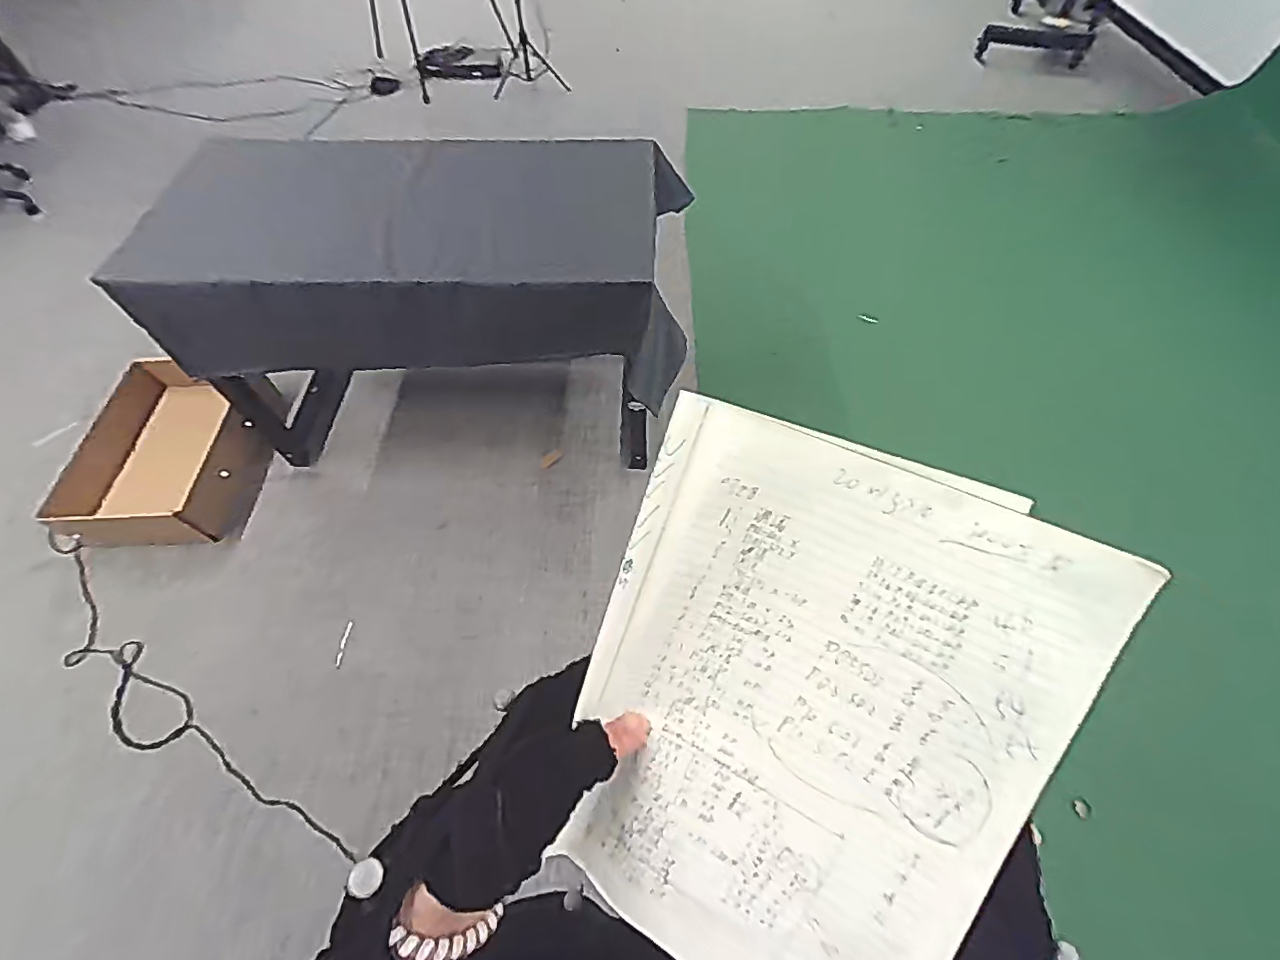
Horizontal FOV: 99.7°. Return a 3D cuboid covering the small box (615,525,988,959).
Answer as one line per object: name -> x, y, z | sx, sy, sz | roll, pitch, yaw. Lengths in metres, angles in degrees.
small box -> 0.101, 0.150, 0.371 | 0.168, 0.176, 0.179 | 16, 78, 16
